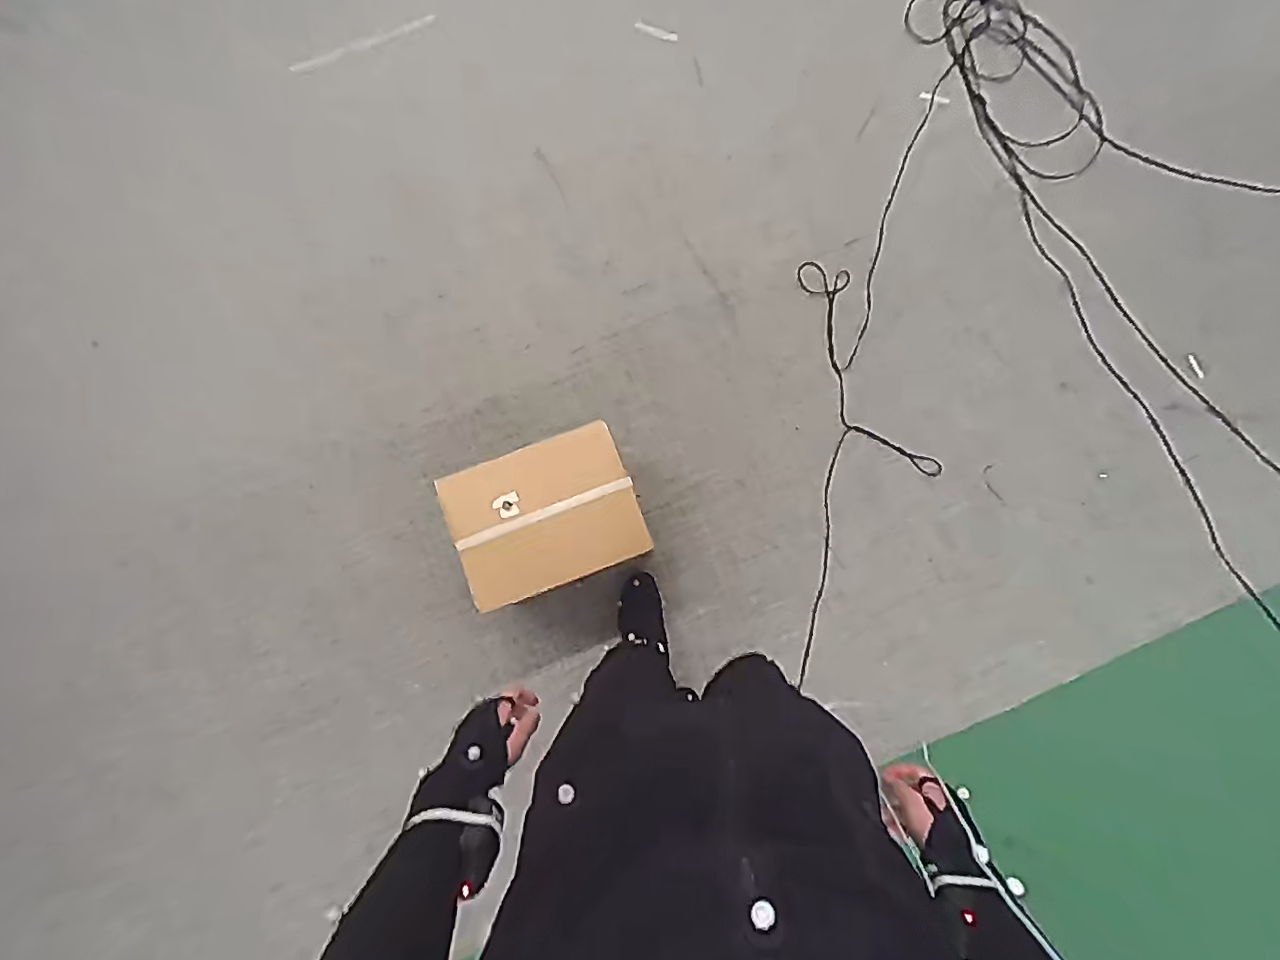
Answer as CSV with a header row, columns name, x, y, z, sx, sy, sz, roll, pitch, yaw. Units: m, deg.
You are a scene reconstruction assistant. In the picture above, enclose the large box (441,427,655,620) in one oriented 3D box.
name,x,y,z,sx,sy,sz,roll,pitch,yaw
large box,-0.203,0.110,1.336,0.408,0.320,0.320,-21,81,-2
